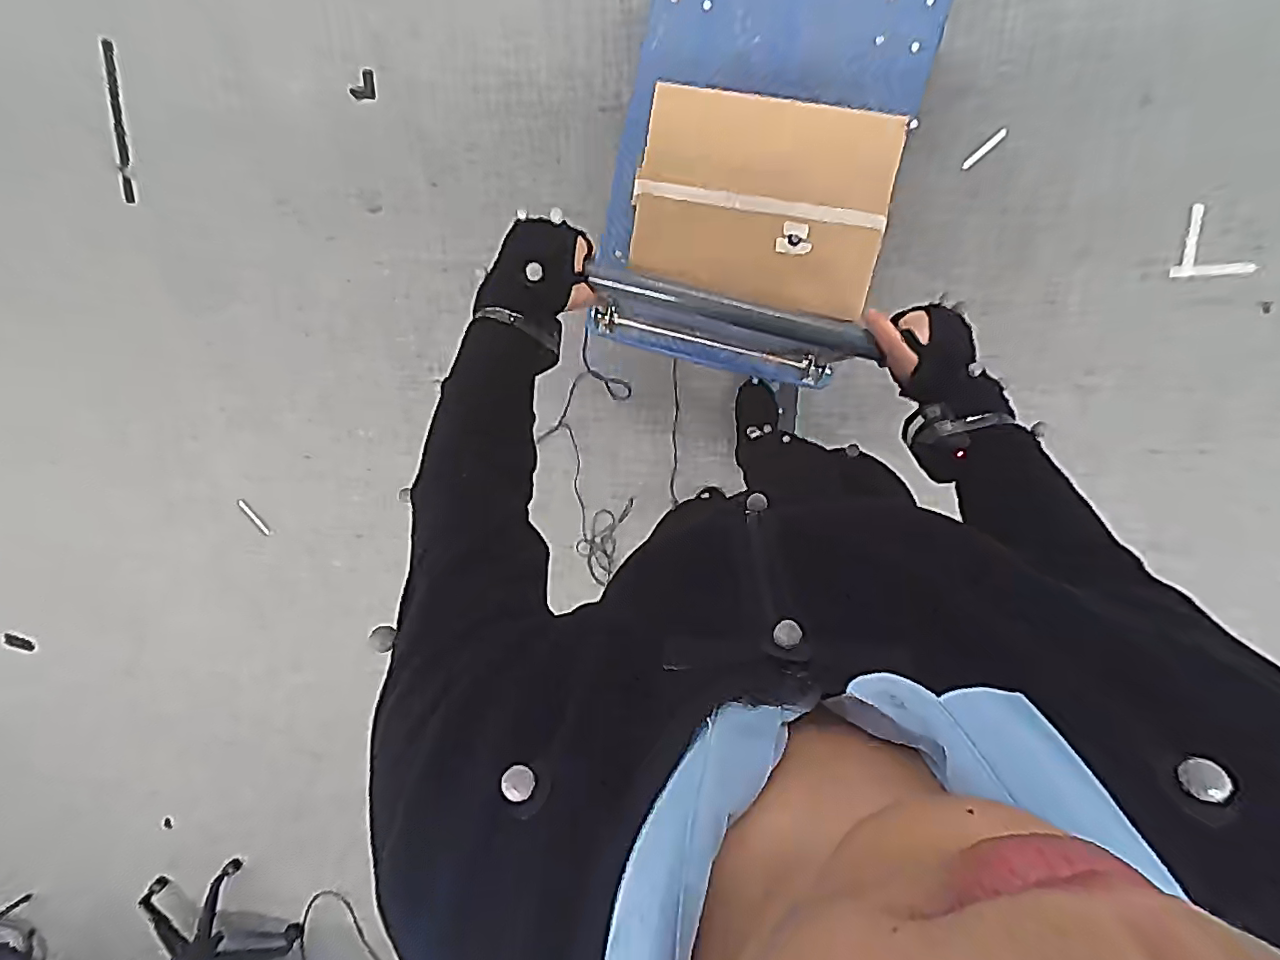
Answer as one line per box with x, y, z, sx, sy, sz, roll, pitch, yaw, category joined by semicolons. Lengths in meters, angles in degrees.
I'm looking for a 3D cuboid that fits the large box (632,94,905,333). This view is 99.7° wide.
0.215;-0.478;1.042;0.408;0.320;0.320;11;103;4;large box
